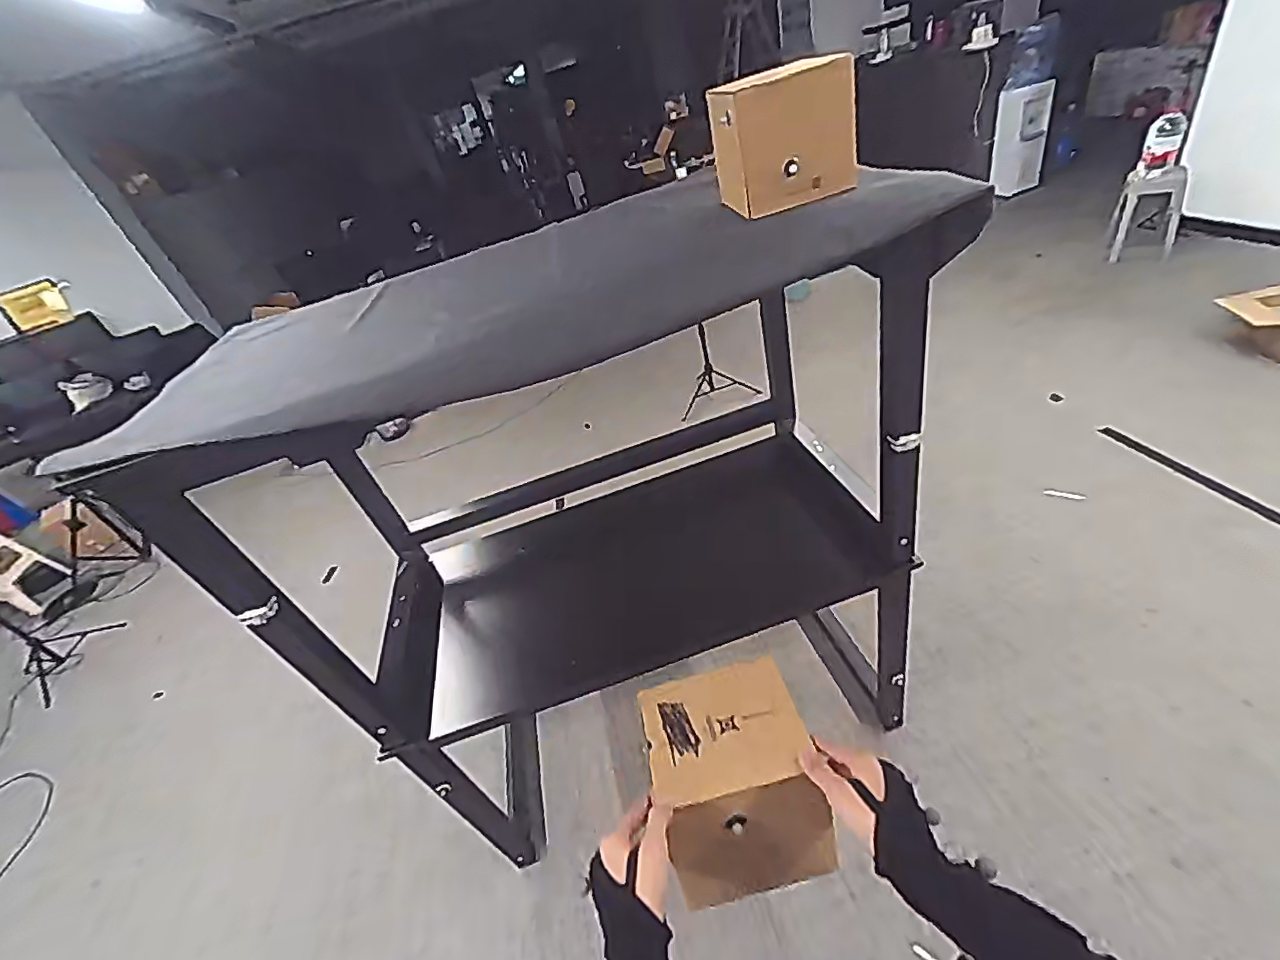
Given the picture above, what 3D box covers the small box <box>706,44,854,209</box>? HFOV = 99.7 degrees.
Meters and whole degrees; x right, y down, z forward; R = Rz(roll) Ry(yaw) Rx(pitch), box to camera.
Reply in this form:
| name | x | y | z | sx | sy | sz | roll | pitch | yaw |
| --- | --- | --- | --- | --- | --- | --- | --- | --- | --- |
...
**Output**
| name | x | y | z | sx | sy | sz | roll | pitch | yaw |
| --- | --- | --- | --- | --- | --- | --- | --- | --- | --- |
| small box | 0.210 | -0.531 | 0.823 | 0.168 | 0.176 | 0.179 | -17 | 36 | 3 |
